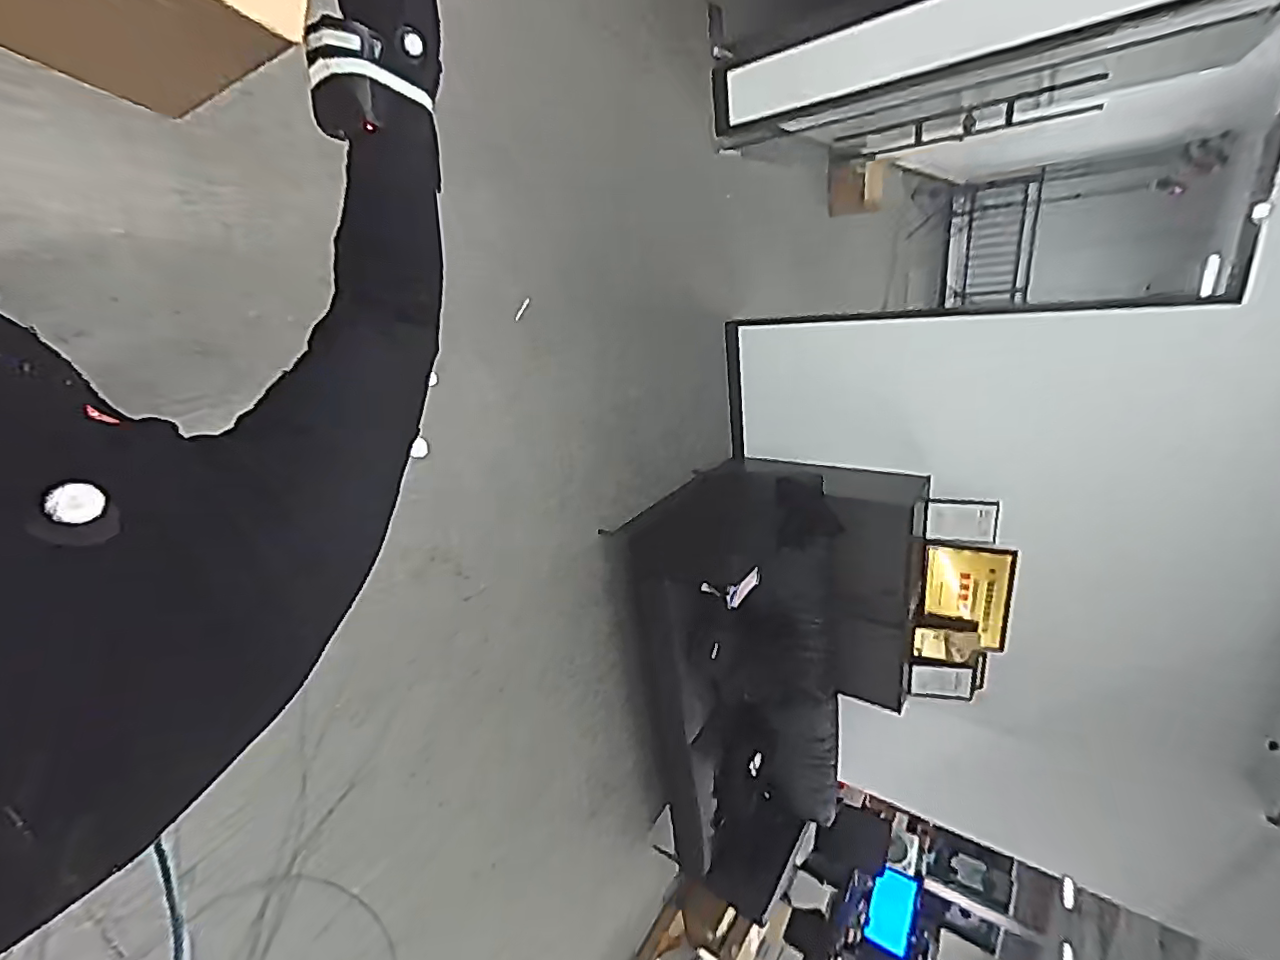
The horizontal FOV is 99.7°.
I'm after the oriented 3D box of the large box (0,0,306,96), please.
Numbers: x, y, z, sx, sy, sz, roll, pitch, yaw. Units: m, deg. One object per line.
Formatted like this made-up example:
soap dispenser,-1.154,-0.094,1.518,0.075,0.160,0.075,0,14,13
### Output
large box,-0.439,-0.486,0.271,0.408,0.320,0.320,-1,105,-53
